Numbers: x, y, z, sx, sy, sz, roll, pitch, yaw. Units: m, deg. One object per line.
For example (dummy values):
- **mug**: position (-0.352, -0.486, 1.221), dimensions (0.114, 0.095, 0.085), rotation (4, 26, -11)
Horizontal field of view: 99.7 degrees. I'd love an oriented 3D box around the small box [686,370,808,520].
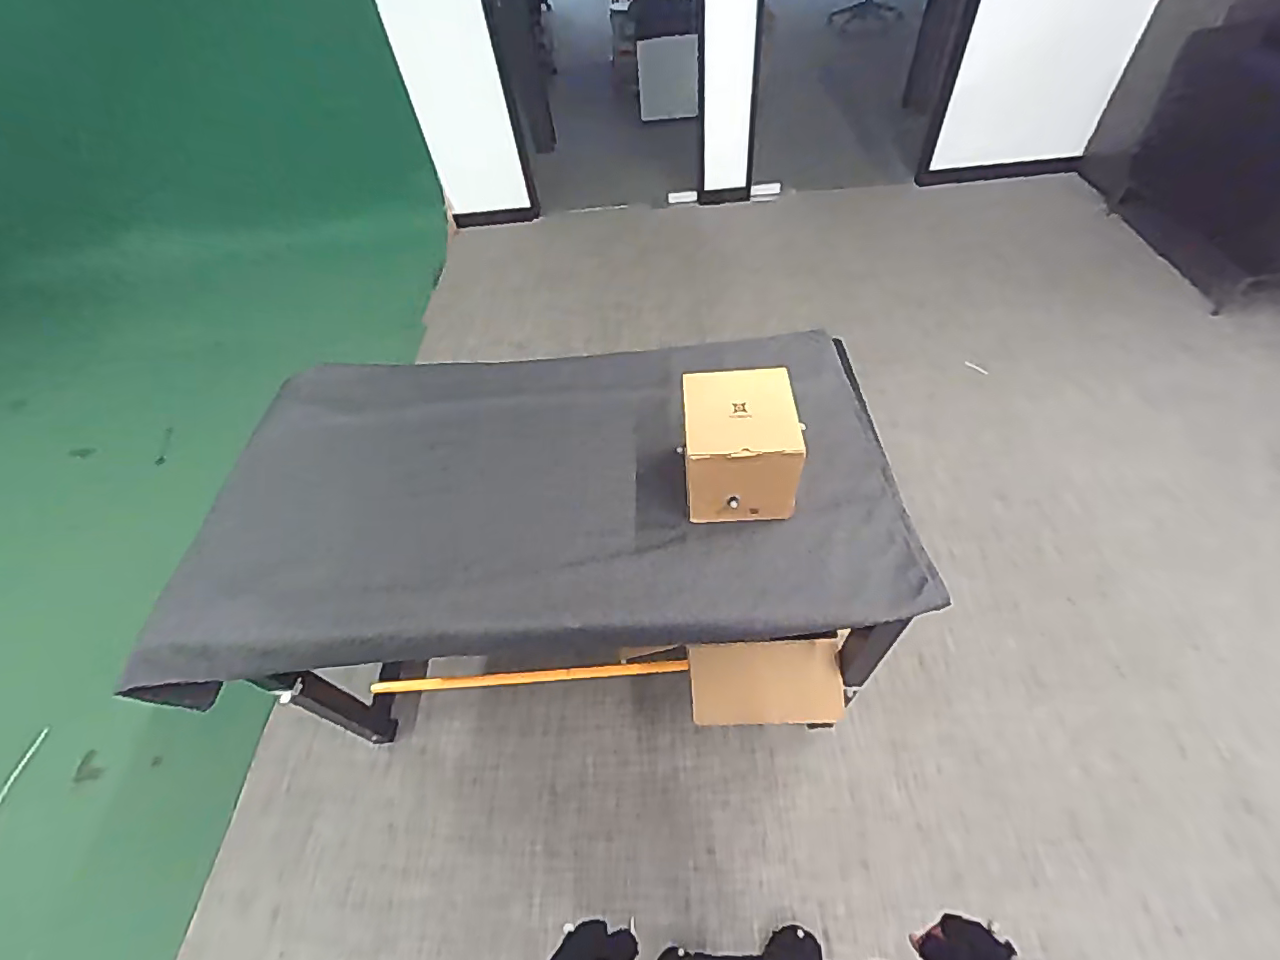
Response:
- **small box**: position (0.158, -0.054, 0.864), dimensions (0.168, 0.176, 0.179), rotation (-3, 52, 4)
